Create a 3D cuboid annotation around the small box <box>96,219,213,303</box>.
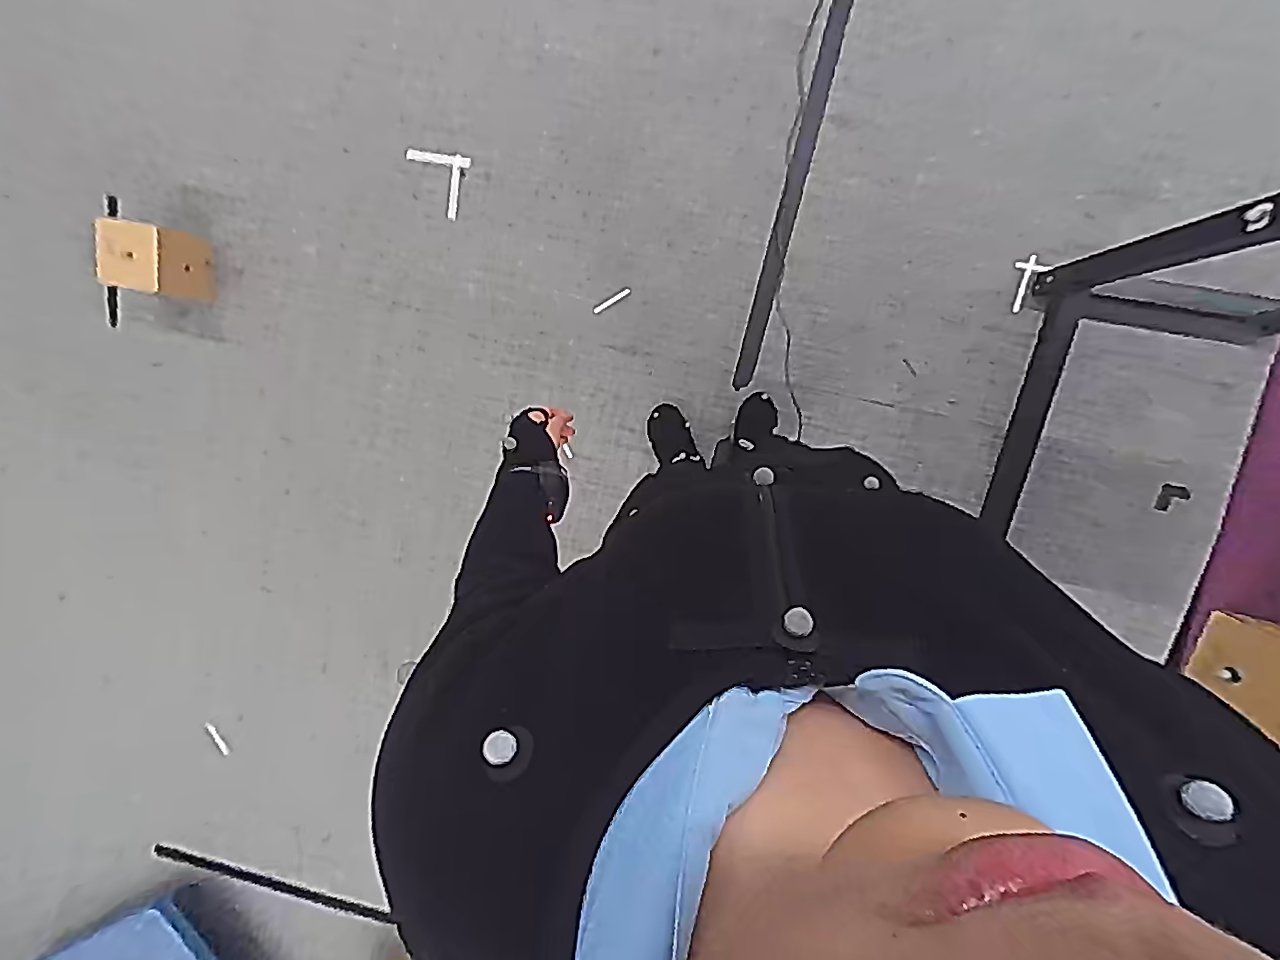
[{"bbox_3d":[-1.300,-0.584,1.459,0.179,0.176,0.168,11,101,5],"label":"small box"}]
